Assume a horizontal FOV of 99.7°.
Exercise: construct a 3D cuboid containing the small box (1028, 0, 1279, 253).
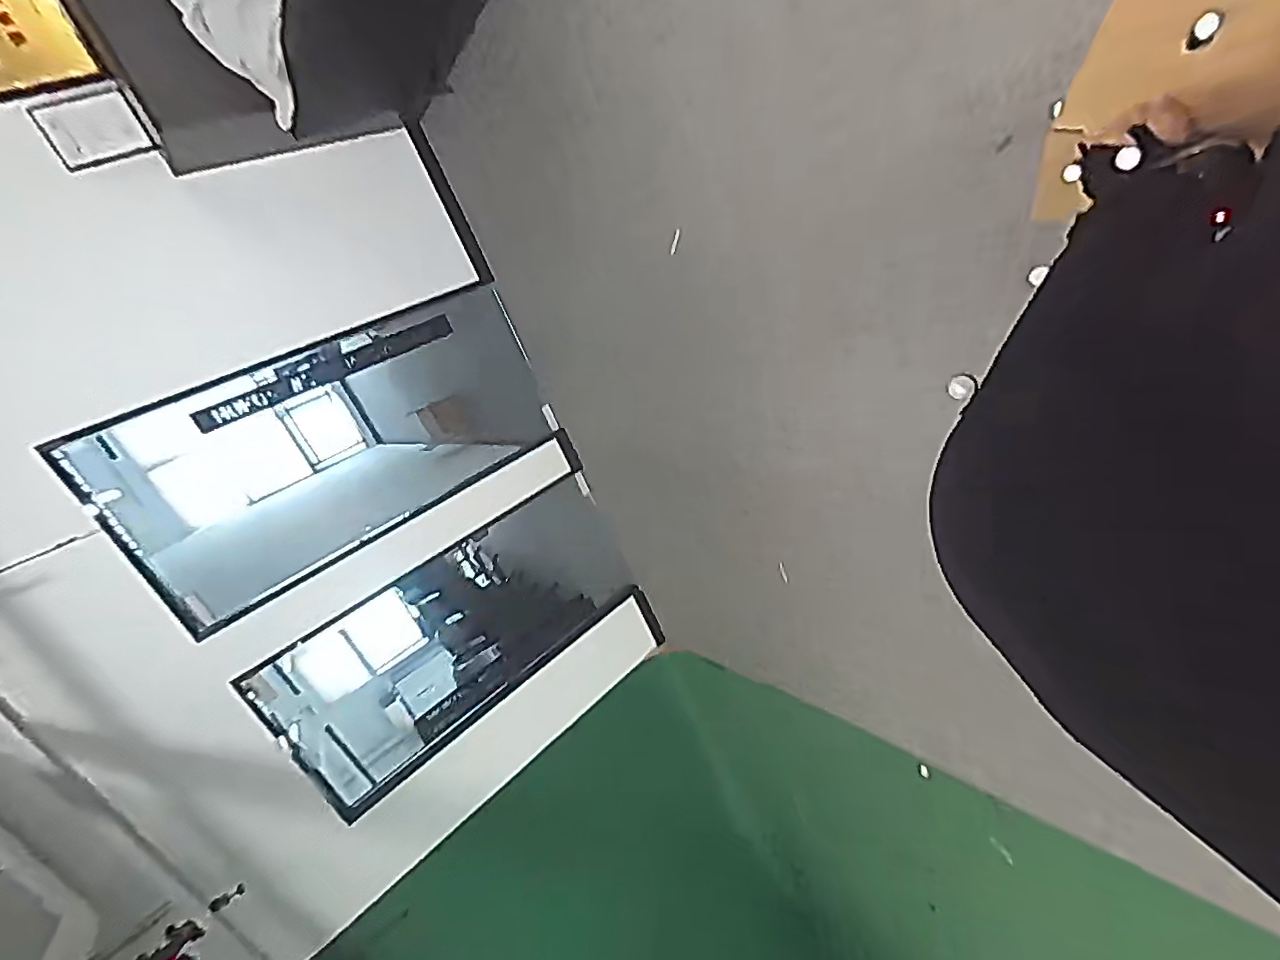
[{"bbox_3d":[0.552,-0.376,0.572,0.168,0.176,0.179,29,-175,31],"label":"small box"}]
